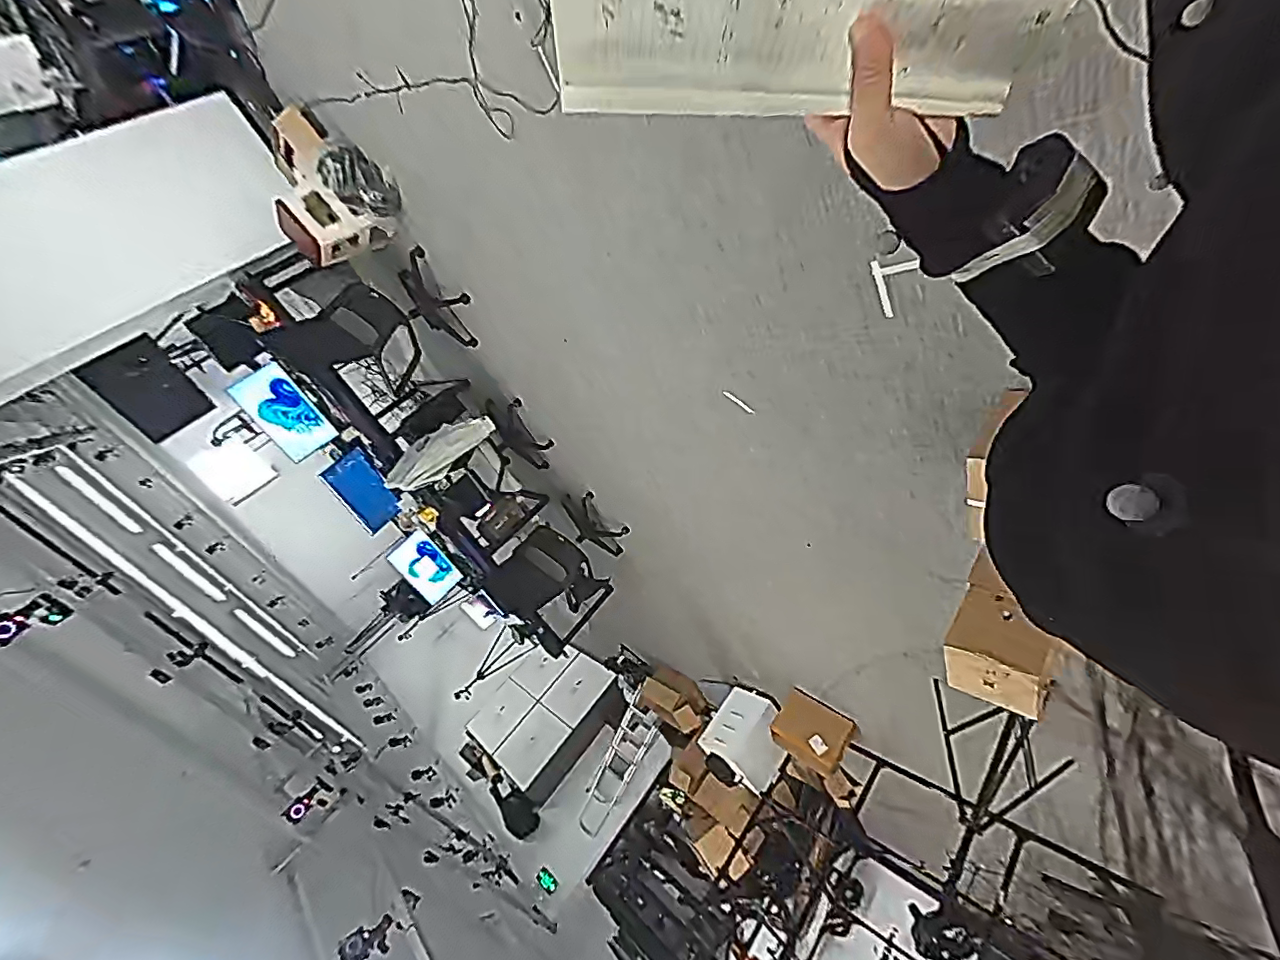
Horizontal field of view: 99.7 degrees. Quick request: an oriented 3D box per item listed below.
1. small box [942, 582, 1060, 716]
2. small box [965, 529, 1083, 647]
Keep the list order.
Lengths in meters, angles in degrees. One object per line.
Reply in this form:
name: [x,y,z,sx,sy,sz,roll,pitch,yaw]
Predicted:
small box: [0.758,0.349,1.136,0.168,0.176,0.179,14,143,44]
small box: [0.853,0.231,1.202,0.179,0.176,0.168,12,141,46]
